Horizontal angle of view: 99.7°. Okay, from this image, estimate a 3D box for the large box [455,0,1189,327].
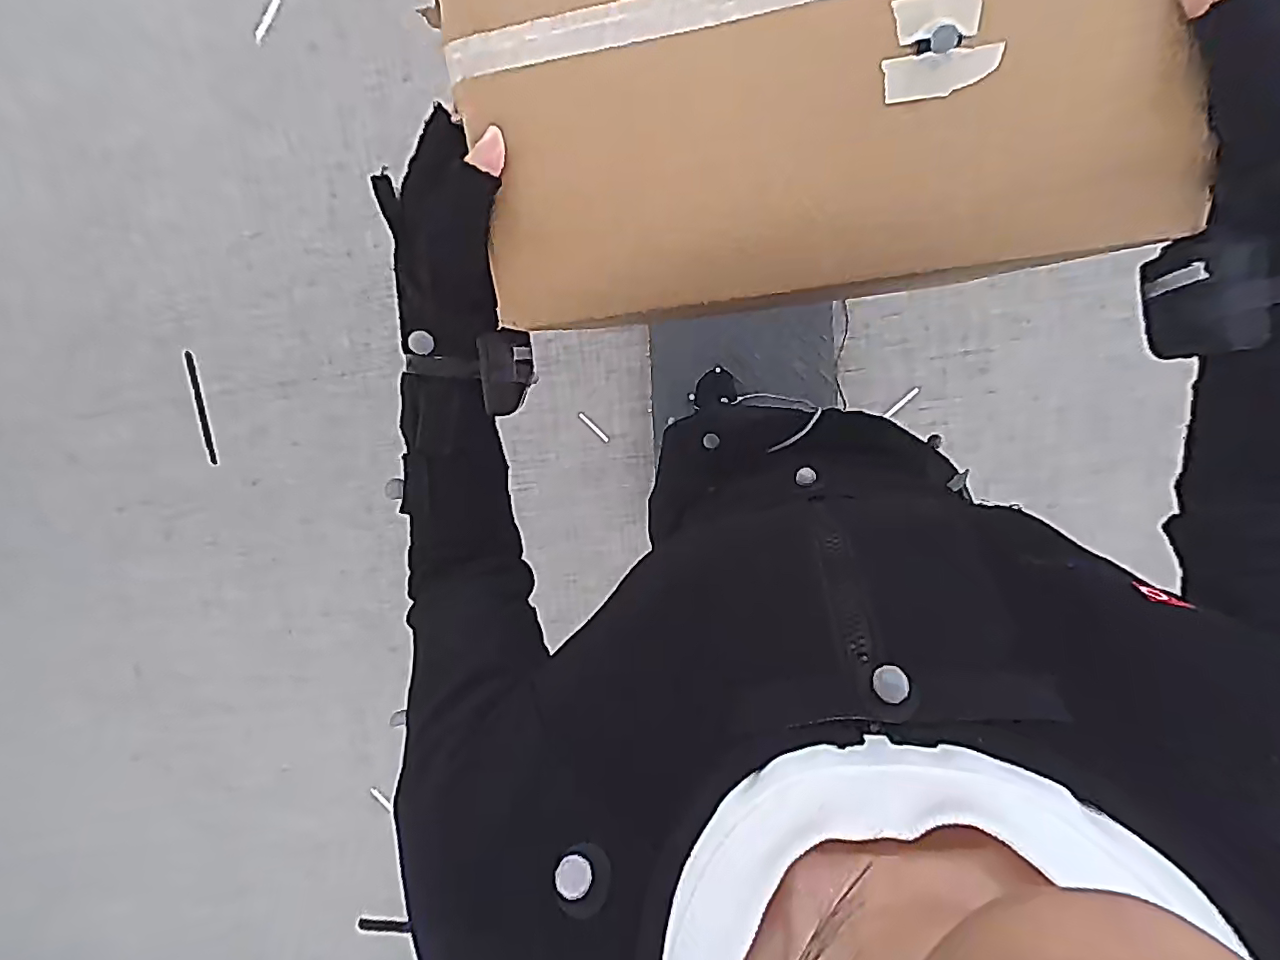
[{"bbox_3d":[0.105,-0.315,0.447,0.408,0.320,0.320,-5,105,9],"label":"large box"}]
